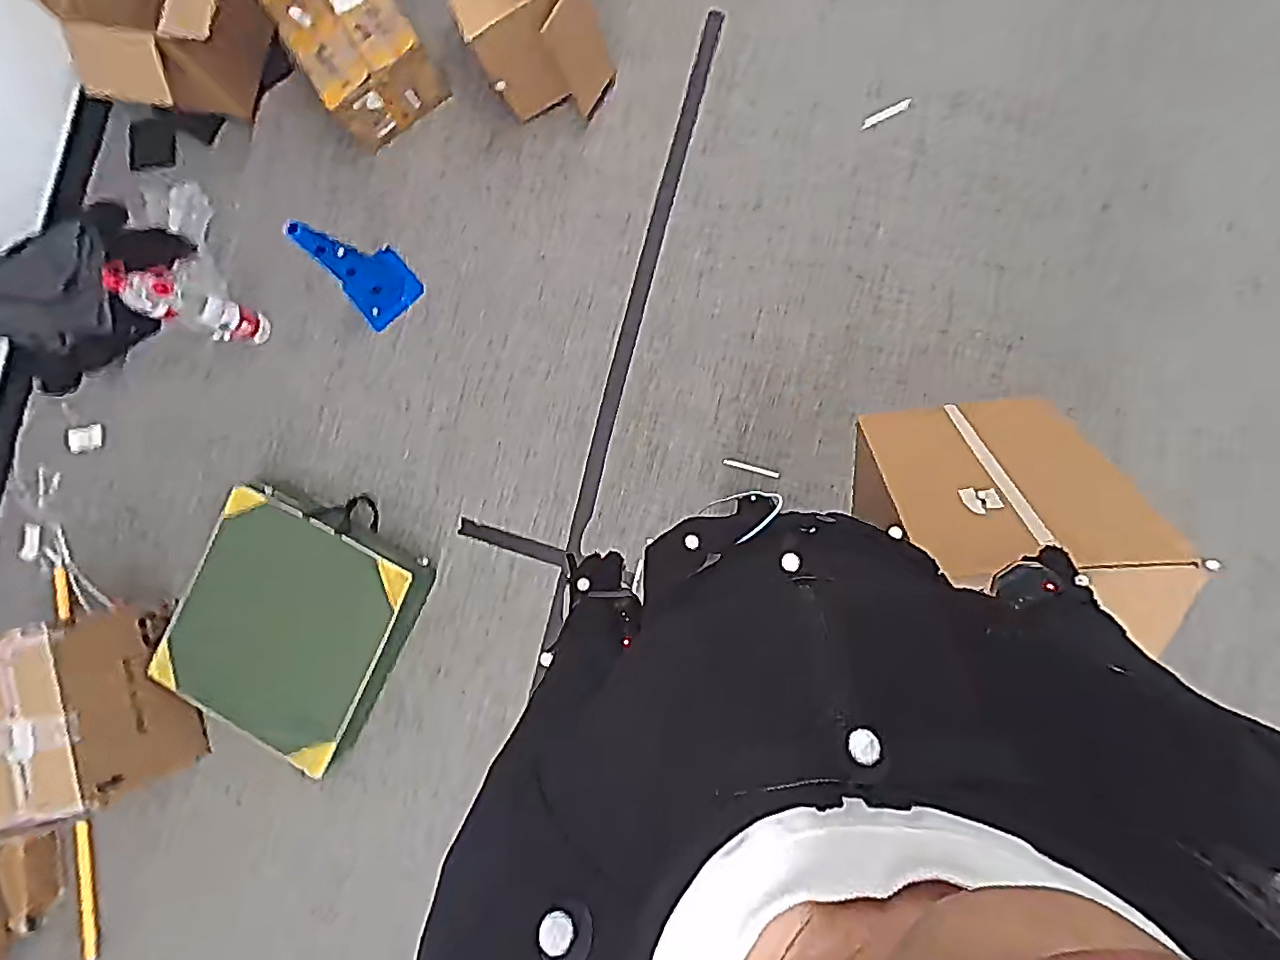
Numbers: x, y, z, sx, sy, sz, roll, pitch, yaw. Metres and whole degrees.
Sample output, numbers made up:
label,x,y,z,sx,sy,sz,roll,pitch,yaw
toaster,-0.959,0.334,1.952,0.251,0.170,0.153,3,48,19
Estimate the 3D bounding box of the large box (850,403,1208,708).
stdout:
label,x,y,z,sx,sy,sz,roll,pitch,yaw
large box,0.562,0.114,0.904,0.320,0.408,0.320,-5,128,11
